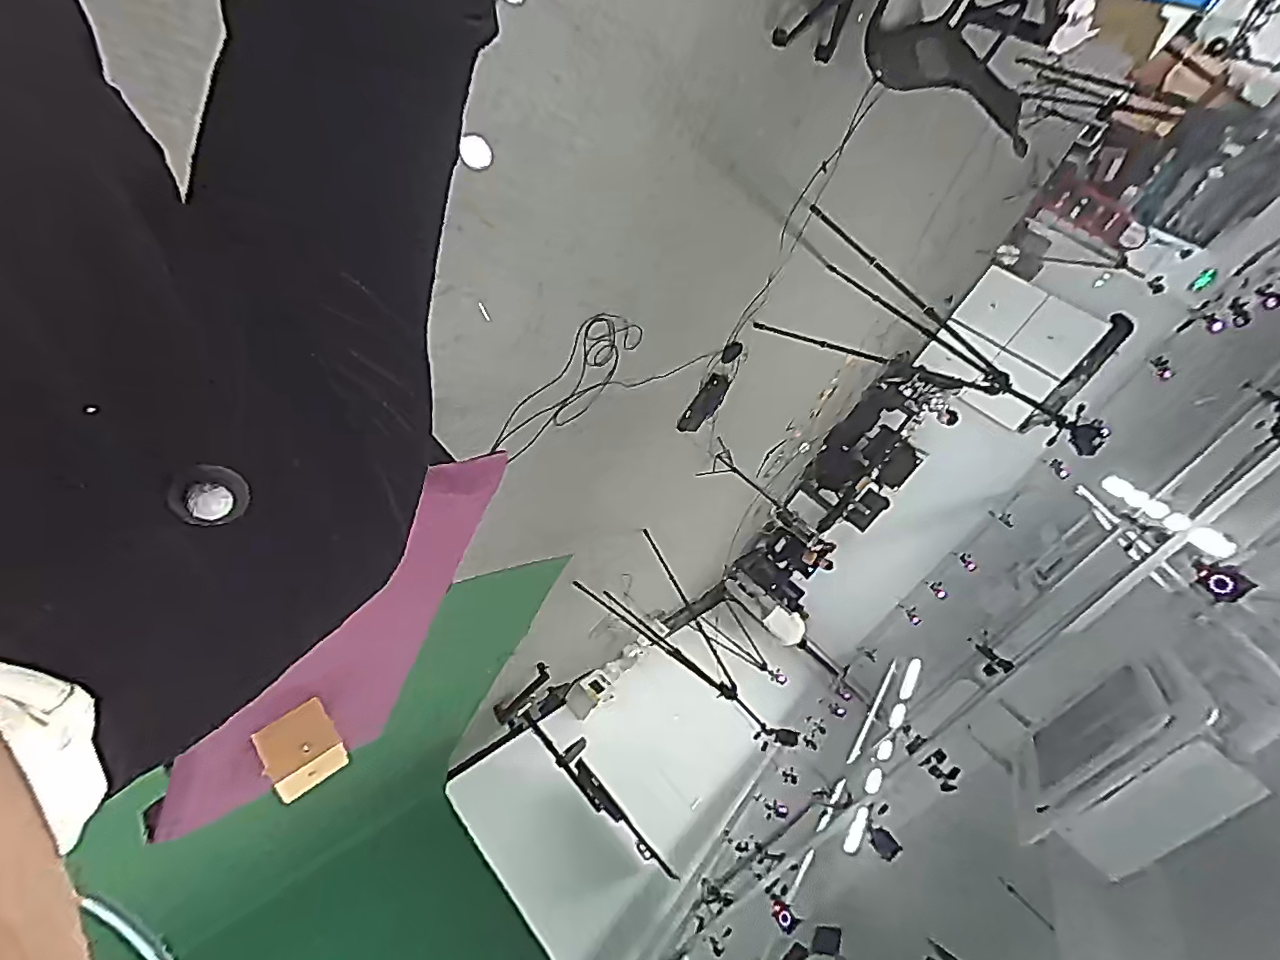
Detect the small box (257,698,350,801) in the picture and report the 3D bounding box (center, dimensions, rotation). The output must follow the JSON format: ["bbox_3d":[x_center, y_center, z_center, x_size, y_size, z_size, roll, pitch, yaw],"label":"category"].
[{"bbox_3d":[-0.971,0.772,1.559,0.179,0.176,0.168,-28,150,-39],"label":"small box"}]
